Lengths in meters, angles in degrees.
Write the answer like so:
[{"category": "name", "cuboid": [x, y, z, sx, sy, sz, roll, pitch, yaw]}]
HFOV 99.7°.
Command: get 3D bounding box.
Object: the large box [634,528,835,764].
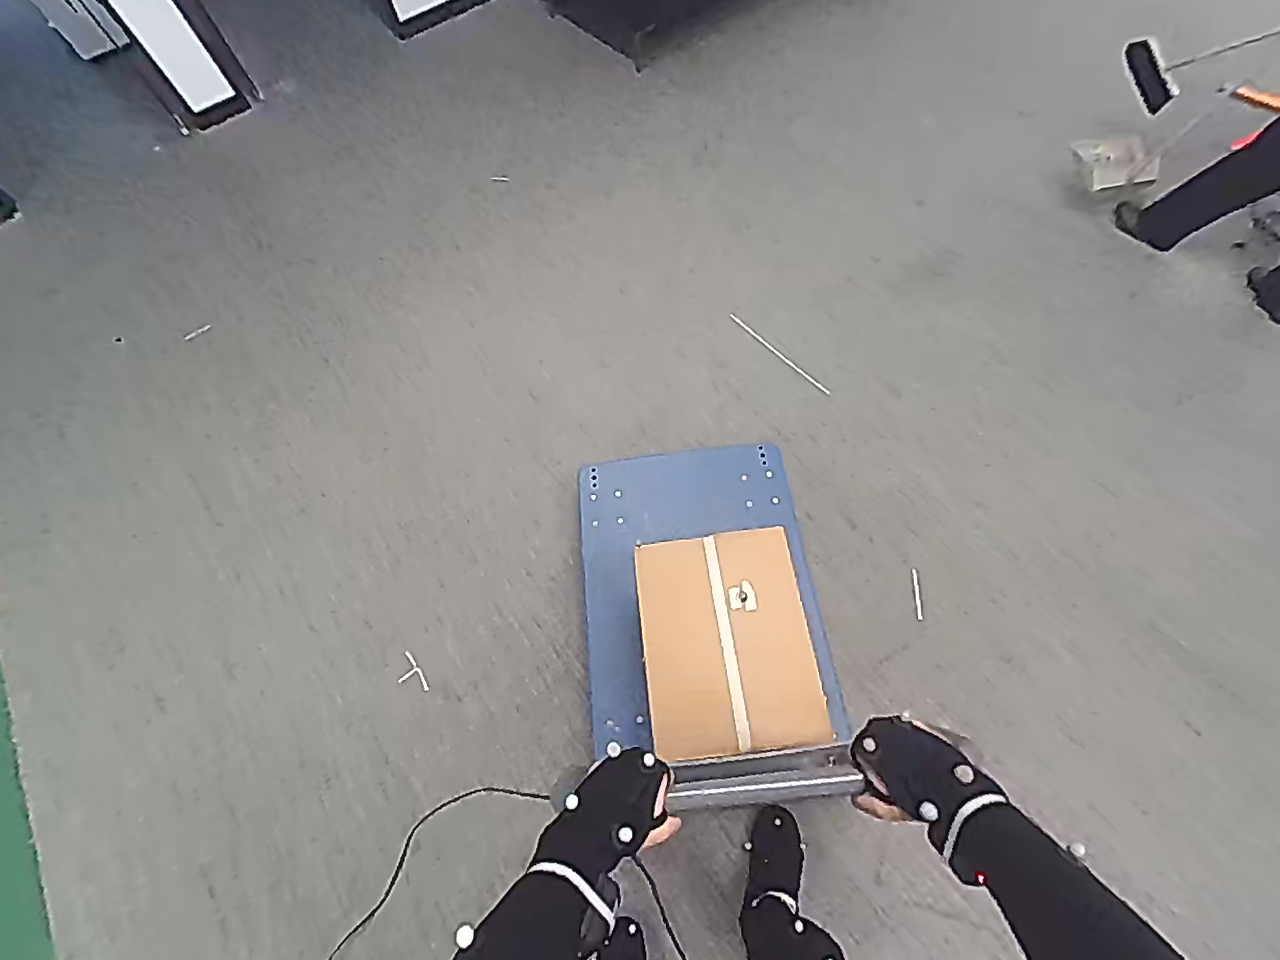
[{"category": "large box", "cuboid": [0.178, 0.363, 1.158, 0.320, 0.320, 0.408, -8, 62, 1]}]
